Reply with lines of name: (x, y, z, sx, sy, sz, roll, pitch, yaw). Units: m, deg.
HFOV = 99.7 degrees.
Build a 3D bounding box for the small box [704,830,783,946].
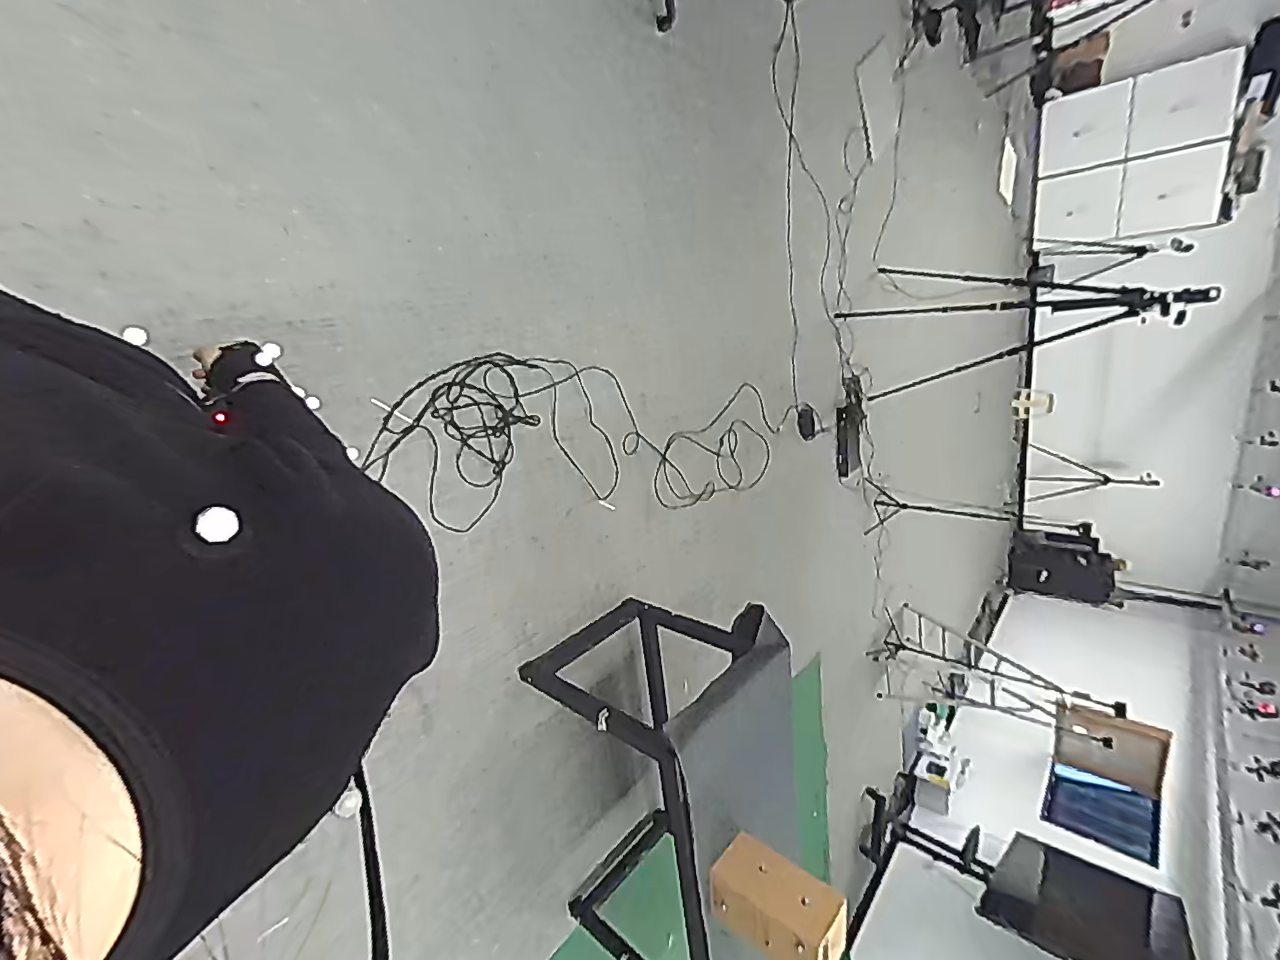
small box: (0.303, 1.179, 1.580, 0.179, 0.176, 0.168, -18, 109, -45)
